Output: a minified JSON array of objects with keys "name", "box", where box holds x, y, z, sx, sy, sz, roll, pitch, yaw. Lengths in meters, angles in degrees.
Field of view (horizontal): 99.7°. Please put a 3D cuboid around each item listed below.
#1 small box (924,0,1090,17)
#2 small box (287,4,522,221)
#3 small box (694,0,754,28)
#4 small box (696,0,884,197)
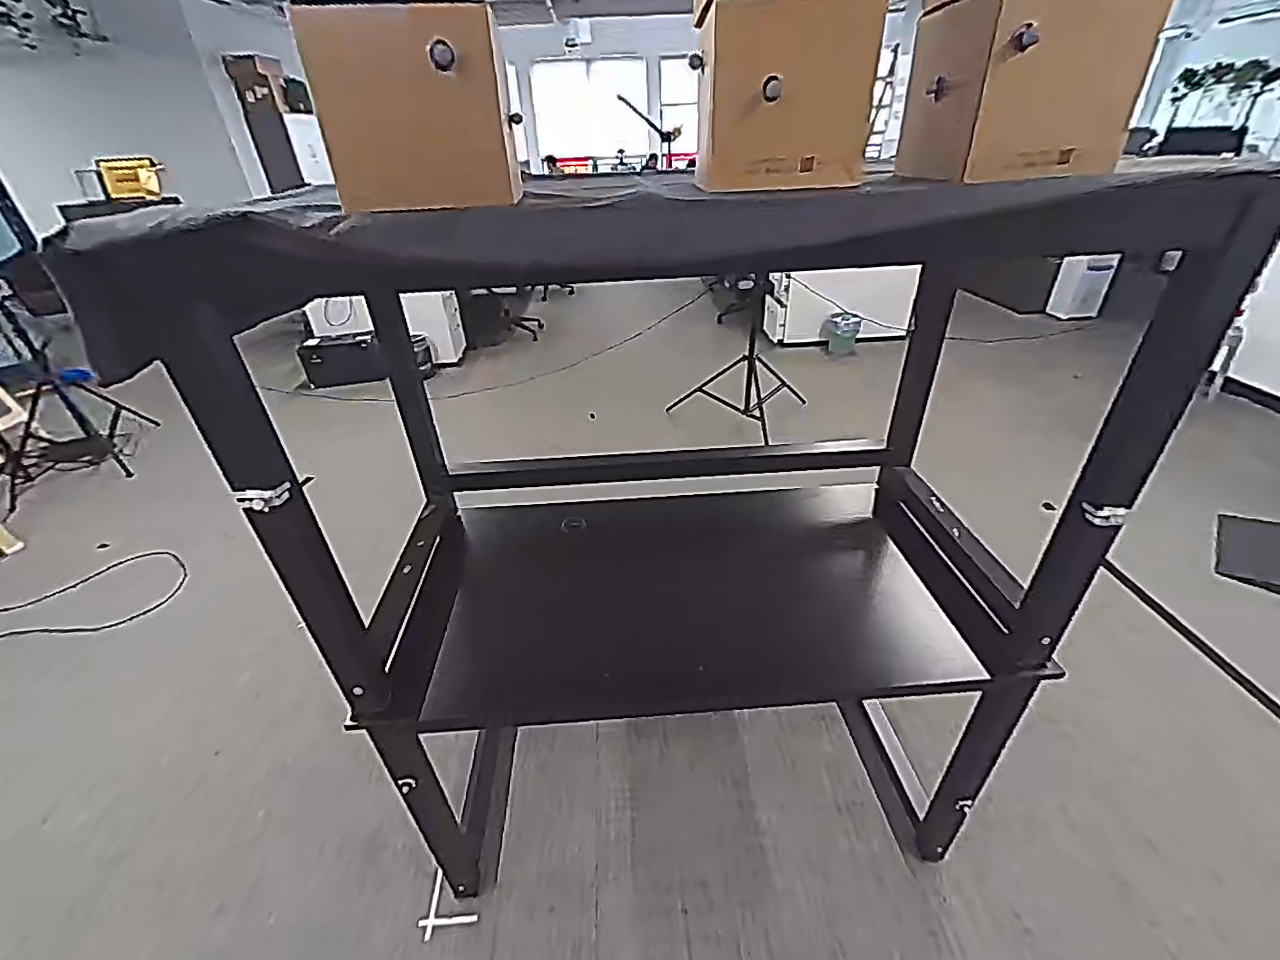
[{"name":"small box","box":[0.405,-0.566,0.514,0.179,0.176,0.168,-4,30,0]},{"name":"small box","box":[-0.228,-0.385,0.585,0.179,0.176,0.168,-6,31,-5]},{"name":"small box","box":[0.144,-0.556,0.521,0.179,0.176,0.168,-3,30,2]},{"name":"small box","box":[0.153,-0.421,0.614,0.168,0.176,0.179,-2,31,1]}]
